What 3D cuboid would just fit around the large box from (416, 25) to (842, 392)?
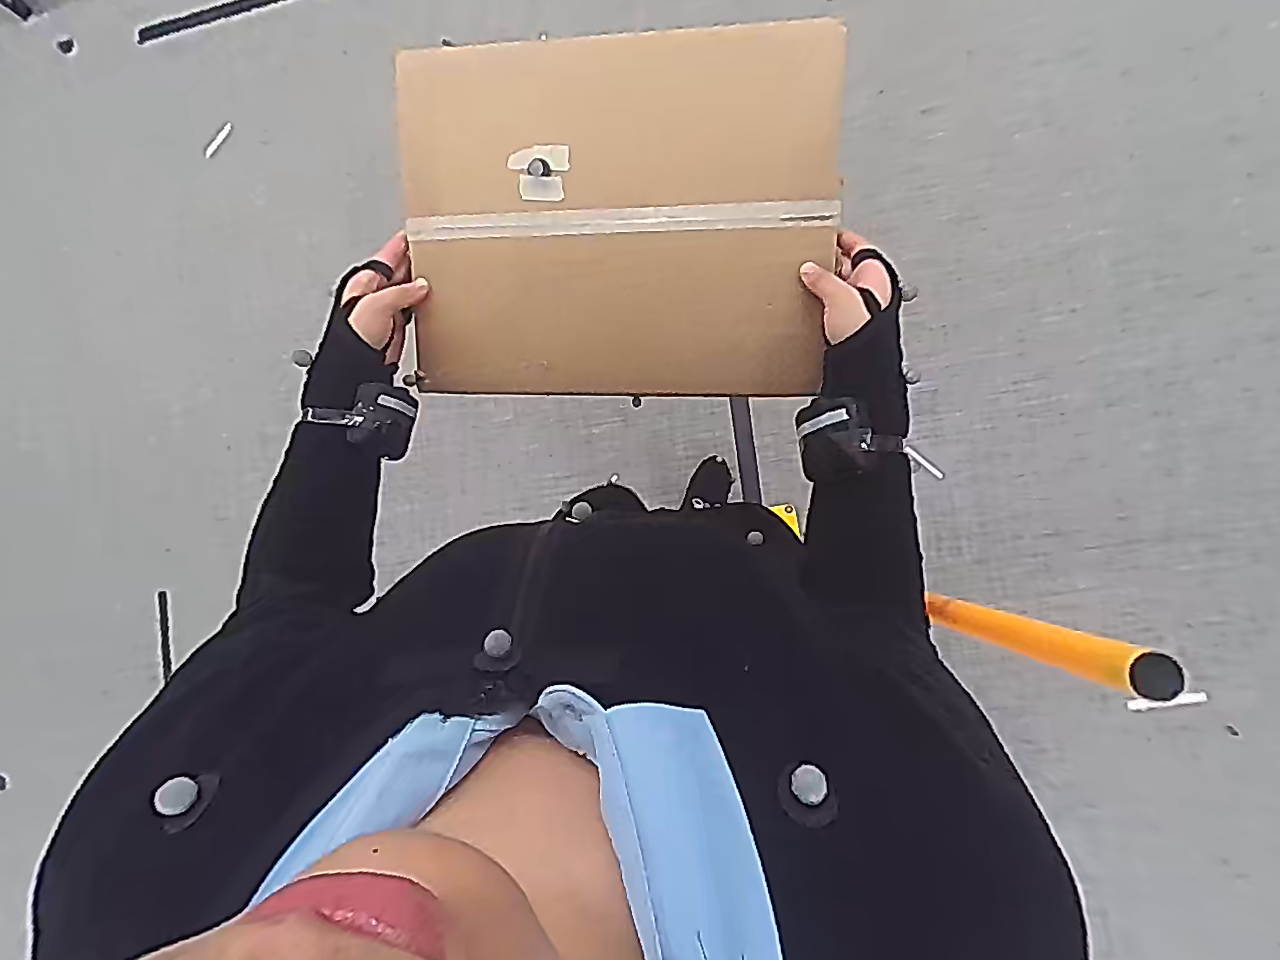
[{"bbox_3d":[0.003,-0.268,0.661,0.408,0.320,0.320,1,99,8],"label":"large box"}]
